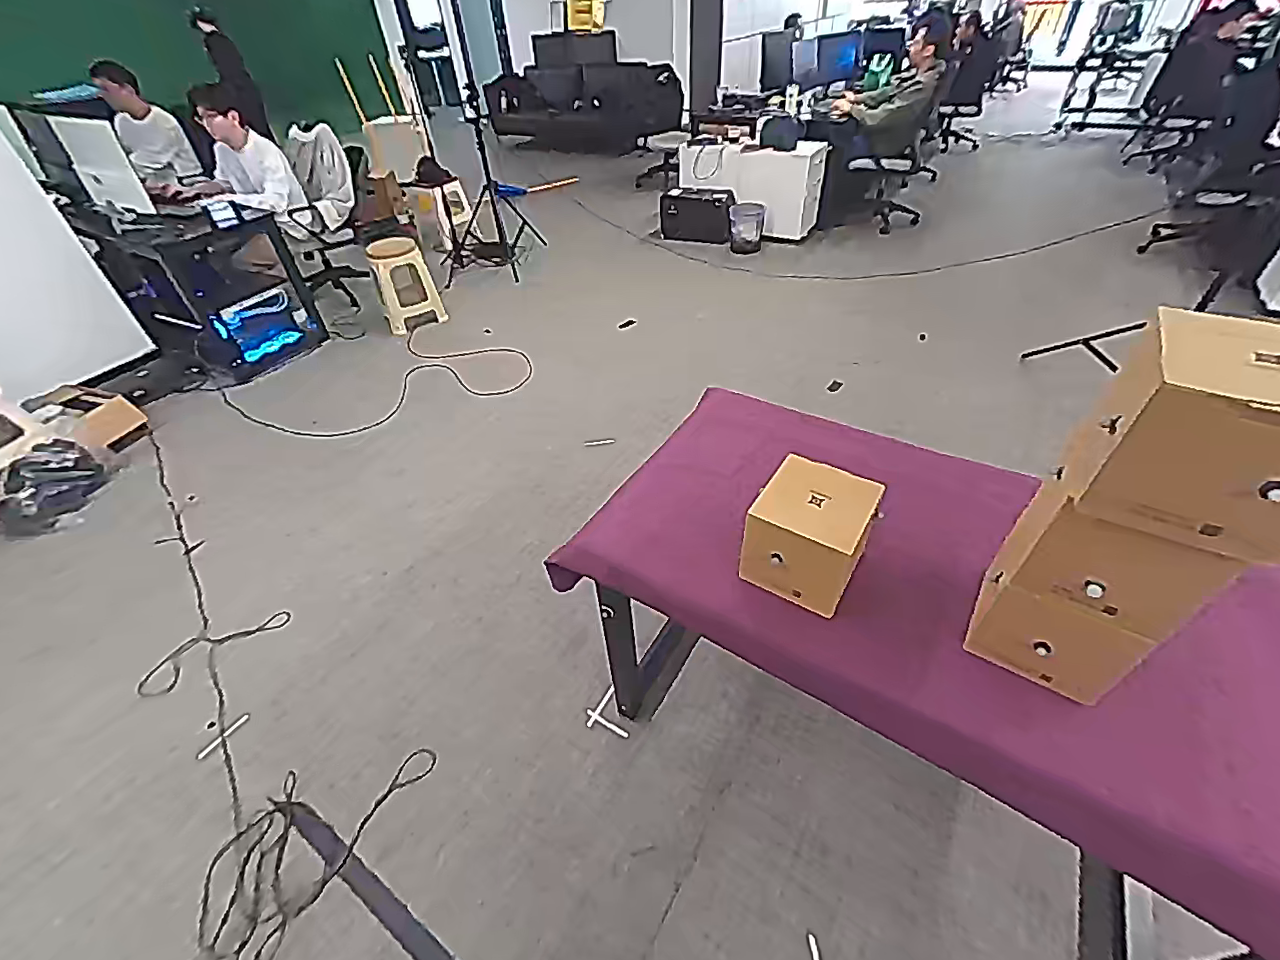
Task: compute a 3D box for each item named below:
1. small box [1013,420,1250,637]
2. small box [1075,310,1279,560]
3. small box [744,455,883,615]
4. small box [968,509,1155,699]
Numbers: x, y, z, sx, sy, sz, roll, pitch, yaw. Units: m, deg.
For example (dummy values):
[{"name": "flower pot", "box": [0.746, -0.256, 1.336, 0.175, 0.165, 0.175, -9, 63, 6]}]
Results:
[{"name": "small box", "box": [0.603, 0.058, 0.679, 0.168, 0.176, 0.179, 23, 49, 27]}, {"name": "small box", "box": [0.585, -0.049, 0.556, 0.168, 0.176, 0.179, 21, 47, 24]}, {"name": "small box", "box": [0.284, 0.092, 0.910, 0.168, 0.176, 0.179, 22, 47, 26]}, {"name": "small box", "box": [0.606, 0.180, 0.788, 0.168, 0.176, 0.179, 24, 49, 27]}]
